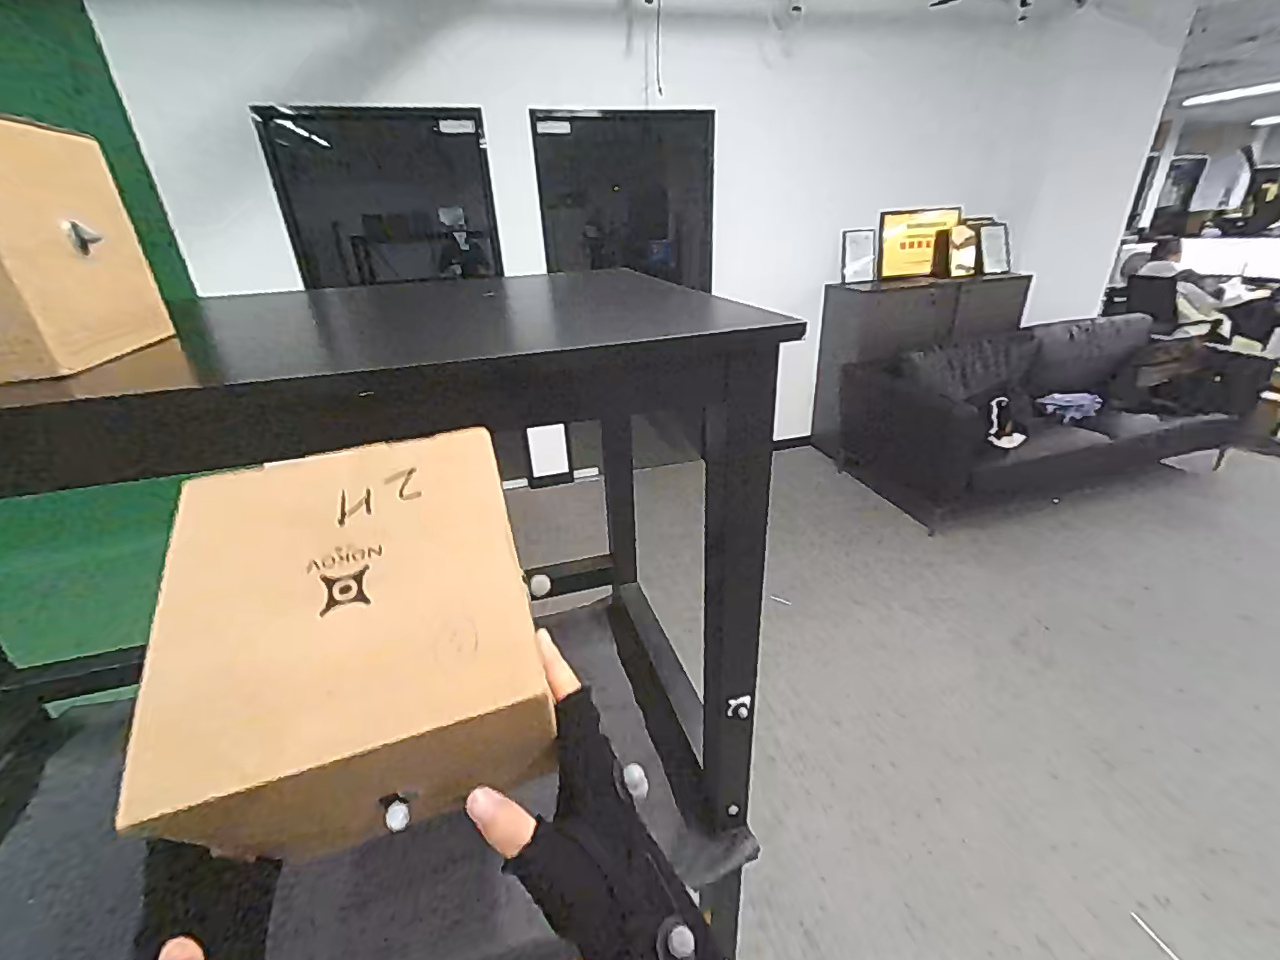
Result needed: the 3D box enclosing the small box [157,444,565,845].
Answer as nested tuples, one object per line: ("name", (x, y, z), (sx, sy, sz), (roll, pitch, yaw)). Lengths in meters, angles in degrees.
("small box", (-0.147, 0.108, 0.344), (0.168, 0.176, 0.179), (-12, 53, -14))
